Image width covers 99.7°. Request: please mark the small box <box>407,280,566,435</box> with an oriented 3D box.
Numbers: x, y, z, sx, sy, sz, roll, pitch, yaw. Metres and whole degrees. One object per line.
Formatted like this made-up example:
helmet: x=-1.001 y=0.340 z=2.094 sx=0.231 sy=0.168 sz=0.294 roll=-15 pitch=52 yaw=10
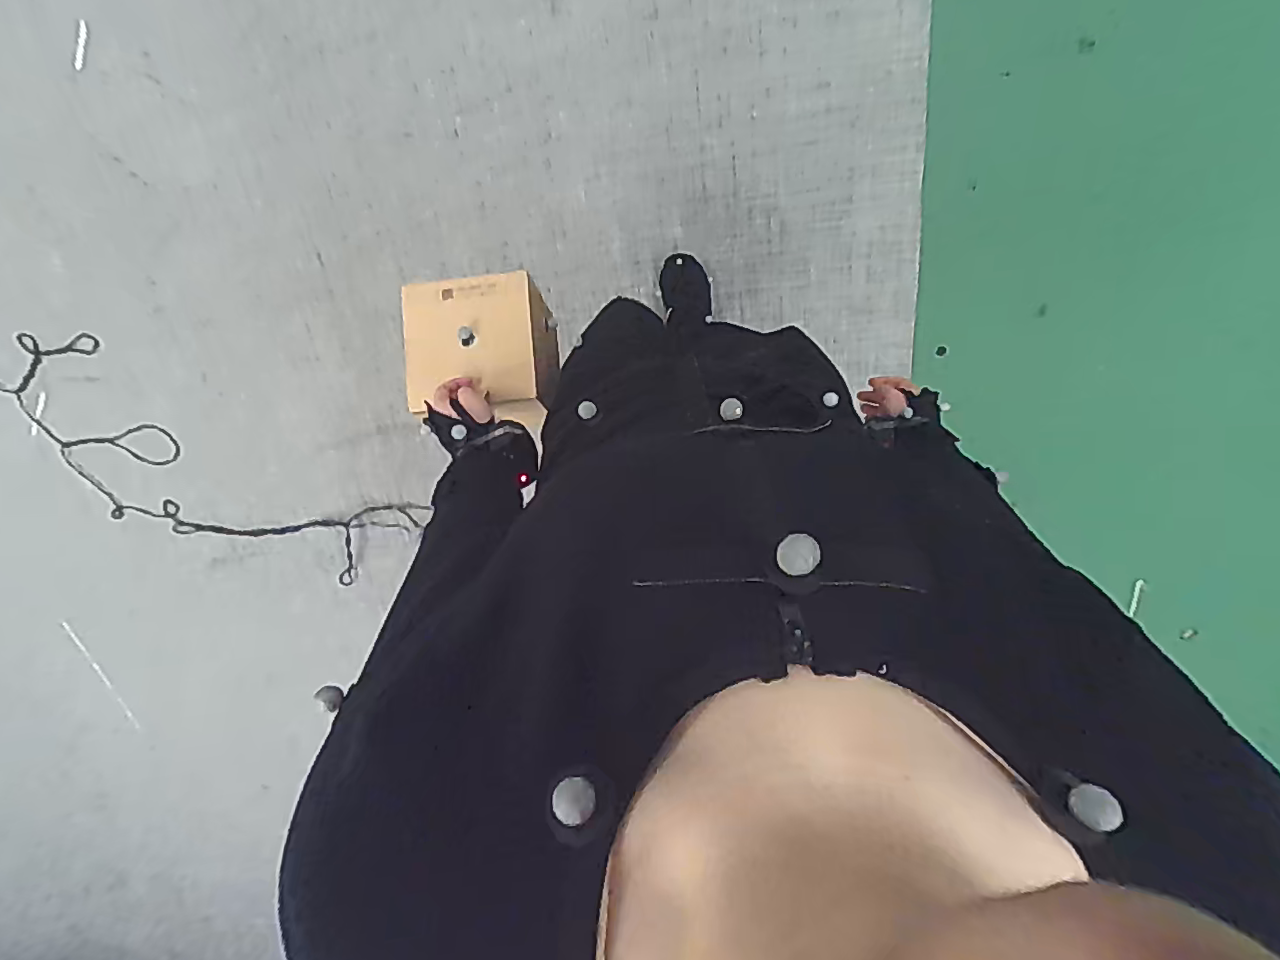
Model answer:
small box: x=-0.208 y=-0.169 z=0.760 sx=0.168 sy=0.179 sz=0.176 roll=-7 pitch=86 yaw=3
